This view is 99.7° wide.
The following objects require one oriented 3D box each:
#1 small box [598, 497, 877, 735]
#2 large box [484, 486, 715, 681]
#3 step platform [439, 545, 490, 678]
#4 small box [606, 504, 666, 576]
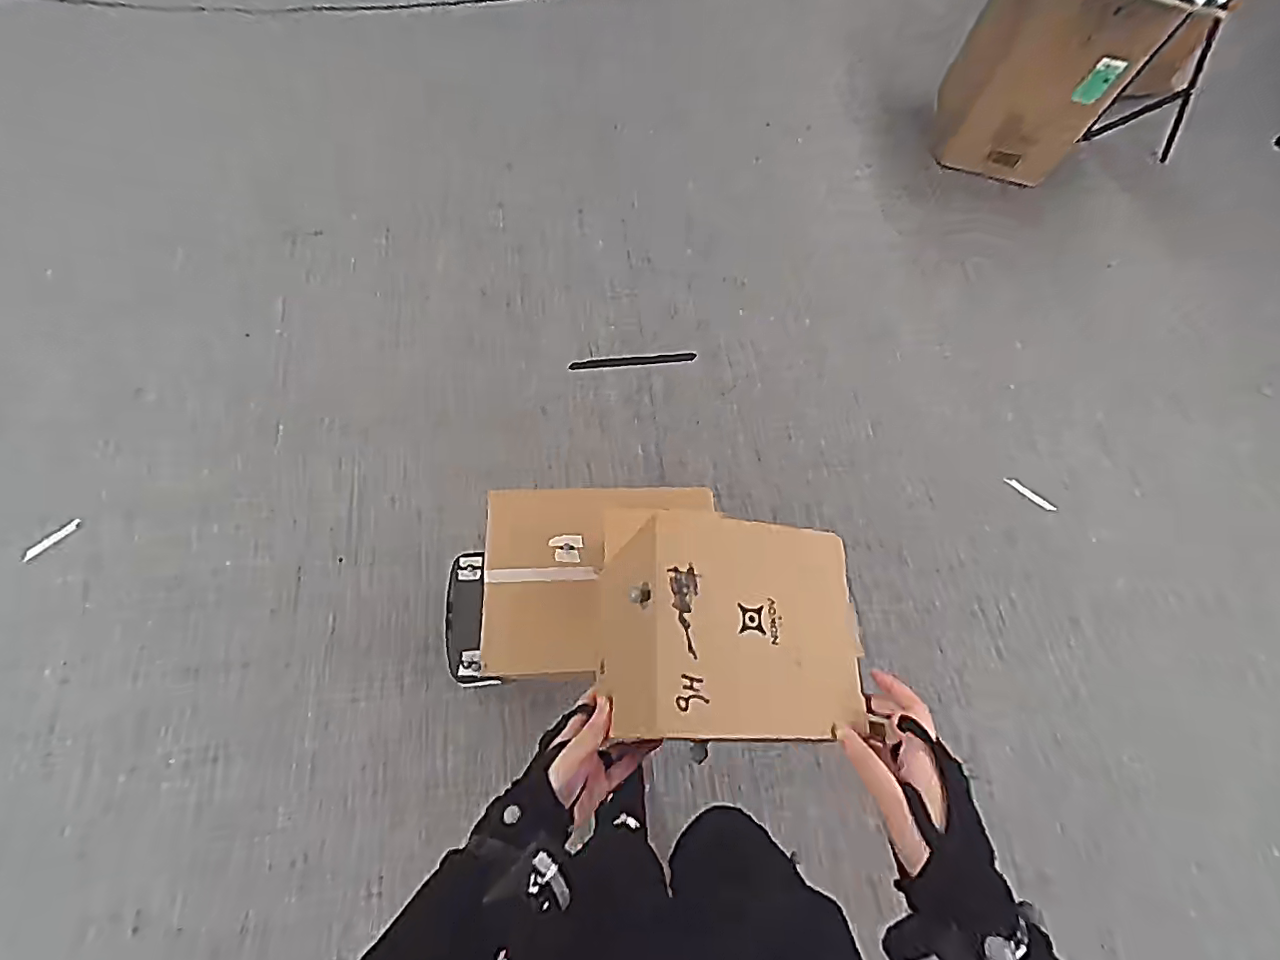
[{"bbox_3d":[0.072,0.133,0.482,0.179,0.176,0.168,10,62,-17],"label":"small box"},{"bbox_3d":[-0.061,0.214,1.047,0.408,0.320,0.320,-1,68,-4],"label":"large box"},{"bbox_3d":[-0.105,0.307,1.264,0.684,0.204,0.286,1,68,-4],"label":"step platform"},{"bbox_3d":[0.038,0.142,0.819,0.179,0.176,0.168,2,69,-3],"label":"small box"}]
